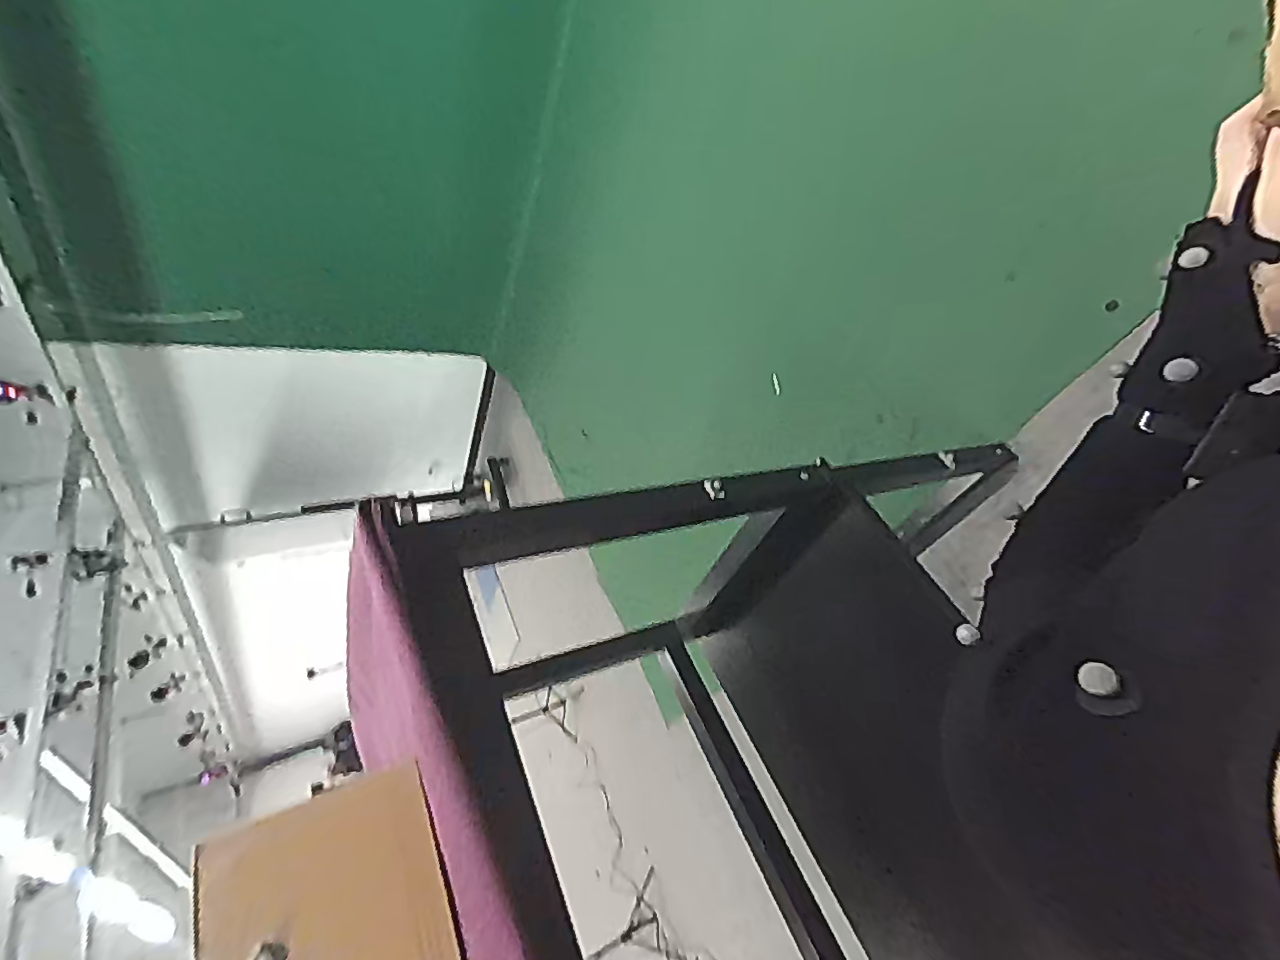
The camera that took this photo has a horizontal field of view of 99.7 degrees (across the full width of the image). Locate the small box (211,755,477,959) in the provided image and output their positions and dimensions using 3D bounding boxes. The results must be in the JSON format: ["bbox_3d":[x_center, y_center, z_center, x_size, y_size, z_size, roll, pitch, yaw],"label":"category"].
[{"bbox_3d":[-0.255,0.384,0.484,0.179,0.176,0.168,60,143,29],"label":"small box"}]
